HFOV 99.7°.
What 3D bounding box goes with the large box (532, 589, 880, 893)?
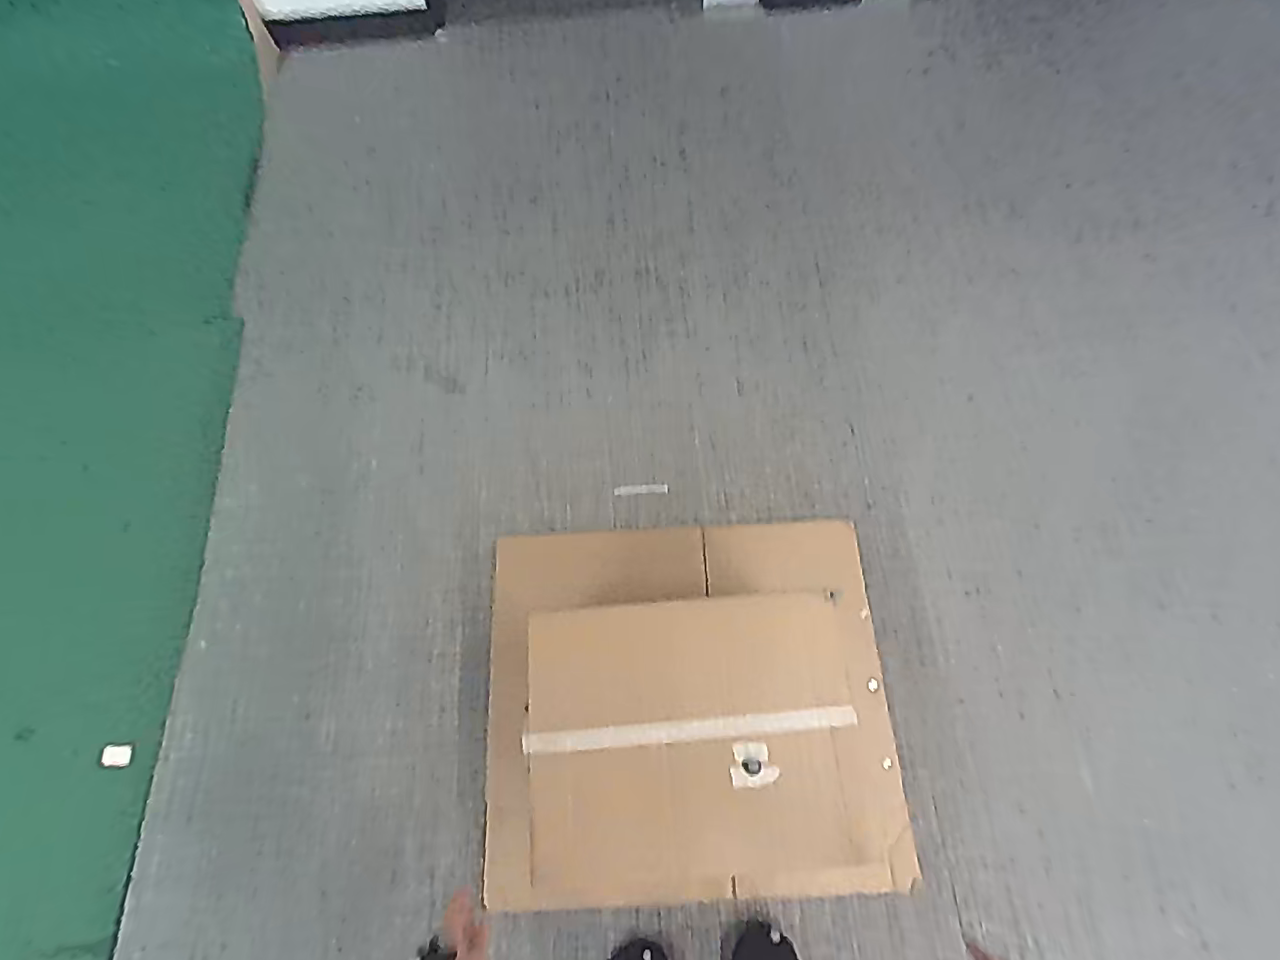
[{"bbox_3d":[0.066,0.358,0.804,0.408,0.320,0.320,-4,70,-2],"label":"large box"}]
